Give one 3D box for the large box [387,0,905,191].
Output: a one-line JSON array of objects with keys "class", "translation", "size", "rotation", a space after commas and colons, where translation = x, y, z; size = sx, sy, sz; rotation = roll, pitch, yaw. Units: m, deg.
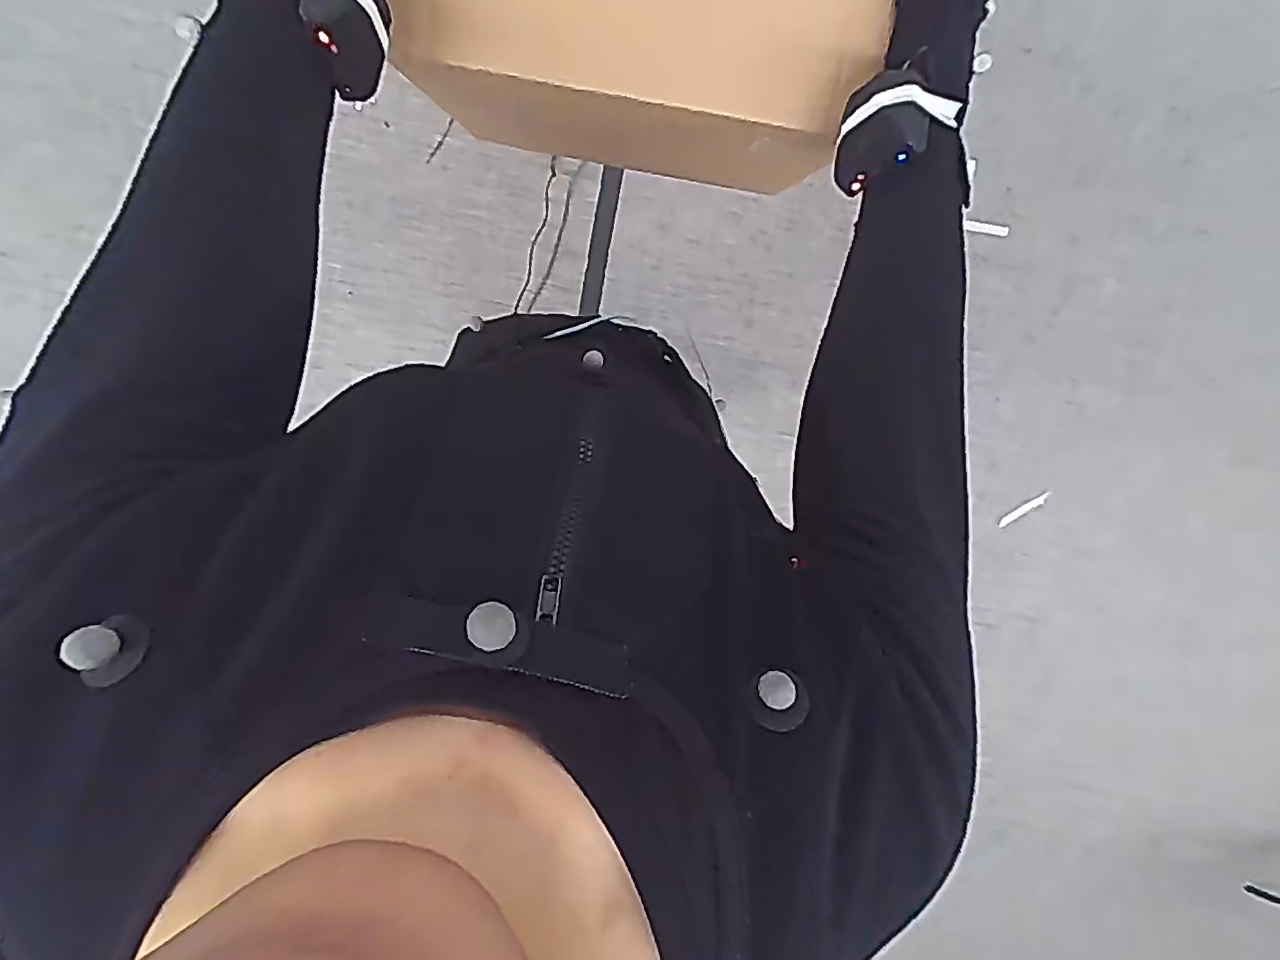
[{"class": "large box", "translation": [0.016, -0.504, 0.526], "size": [0.408, 0.320, 0.320], "rotation": [9, 111, -4]}]
